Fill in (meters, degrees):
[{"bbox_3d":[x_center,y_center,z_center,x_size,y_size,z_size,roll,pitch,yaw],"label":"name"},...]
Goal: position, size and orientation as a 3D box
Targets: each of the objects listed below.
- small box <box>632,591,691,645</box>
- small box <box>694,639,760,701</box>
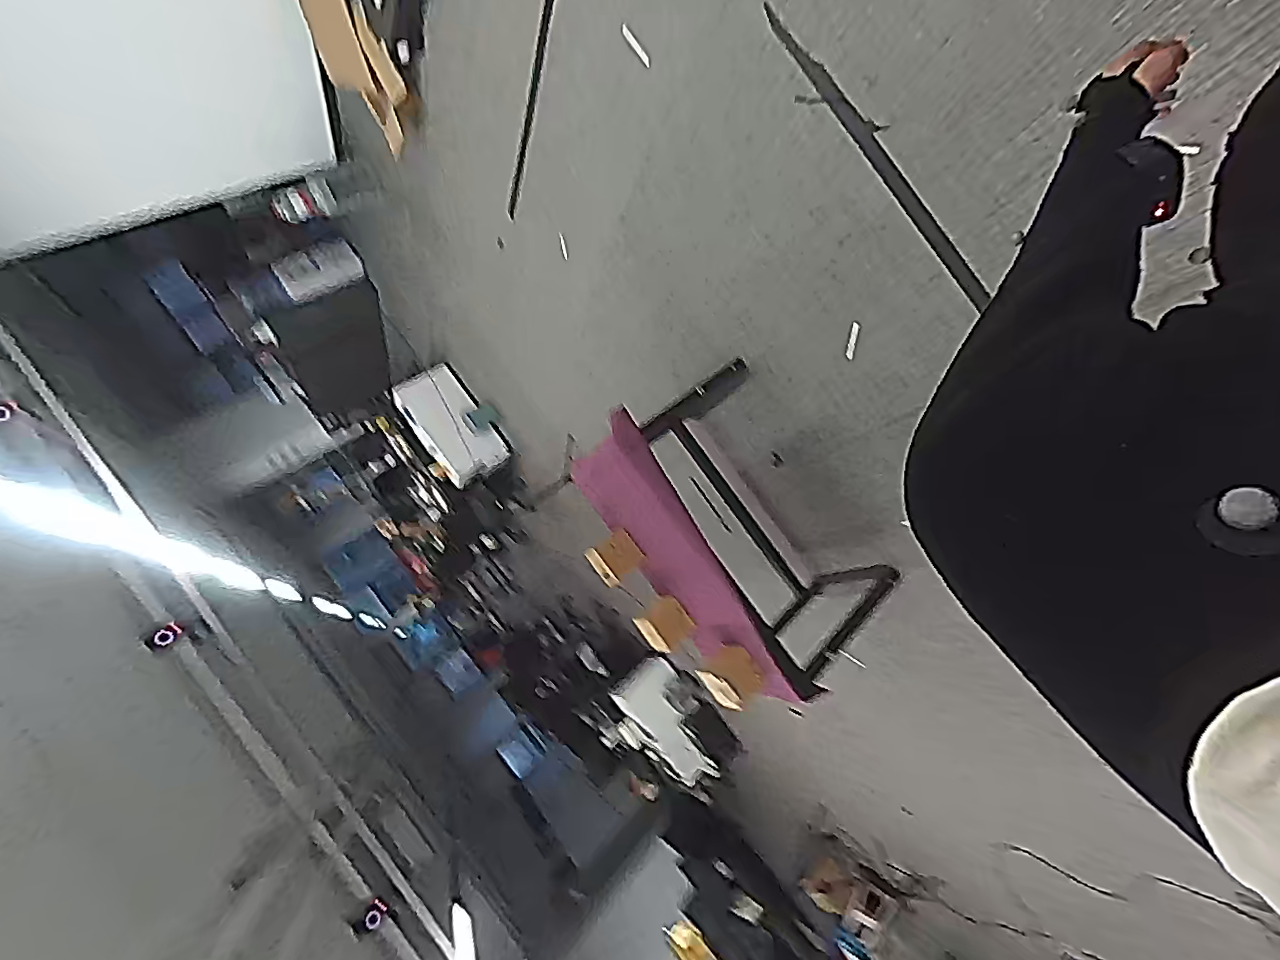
[{"bbox_3d":[0.097,0.614,2.423,0.168,0.176,0.179,55,154,-2],"label":"small box"},{"bbox_3d":[0.354,0.758,2.170,0.168,0.176,0.179,53,156,1],"label":"small box"}]
